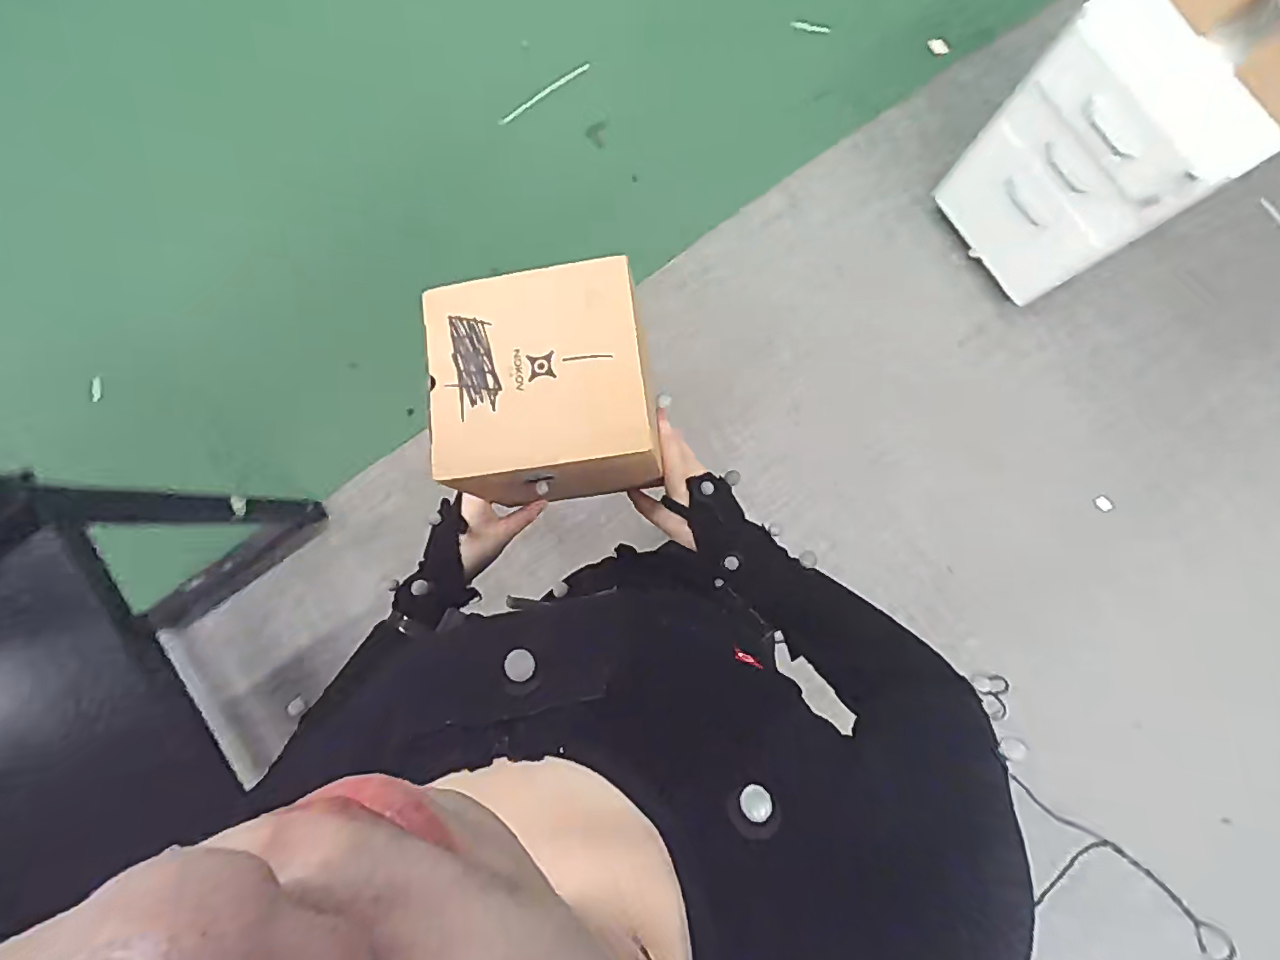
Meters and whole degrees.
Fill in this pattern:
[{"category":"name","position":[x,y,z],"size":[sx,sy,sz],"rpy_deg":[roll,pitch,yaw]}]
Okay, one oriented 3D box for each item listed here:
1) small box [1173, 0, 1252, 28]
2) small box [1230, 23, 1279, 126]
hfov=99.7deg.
[{"category":"small box","position":[0.986,-0.896,0.866],"size":[0.168,0.176,0.179],"rpy_deg":[-32,86,0]},{"category":"small box","position":[1.123,-0.693,0.846],"size":[0.168,0.176,0.179],"rpy_deg":[-33,83,-2]}]
